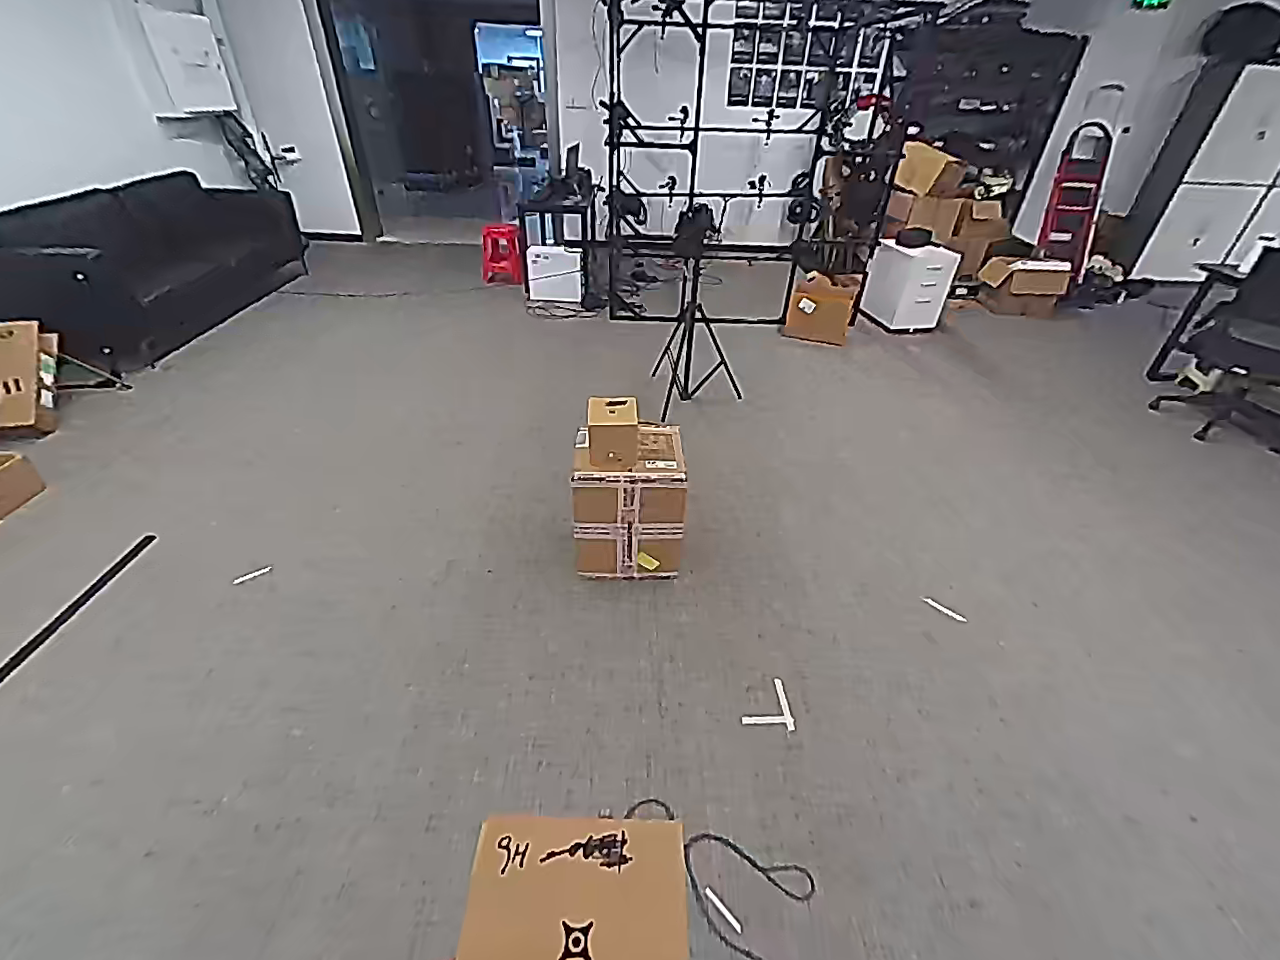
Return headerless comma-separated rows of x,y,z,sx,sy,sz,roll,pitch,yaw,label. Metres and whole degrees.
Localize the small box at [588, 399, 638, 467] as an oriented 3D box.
-0.093,-0.164,1.870,0.168,0.176,0.179,-1,40,-3,small box
